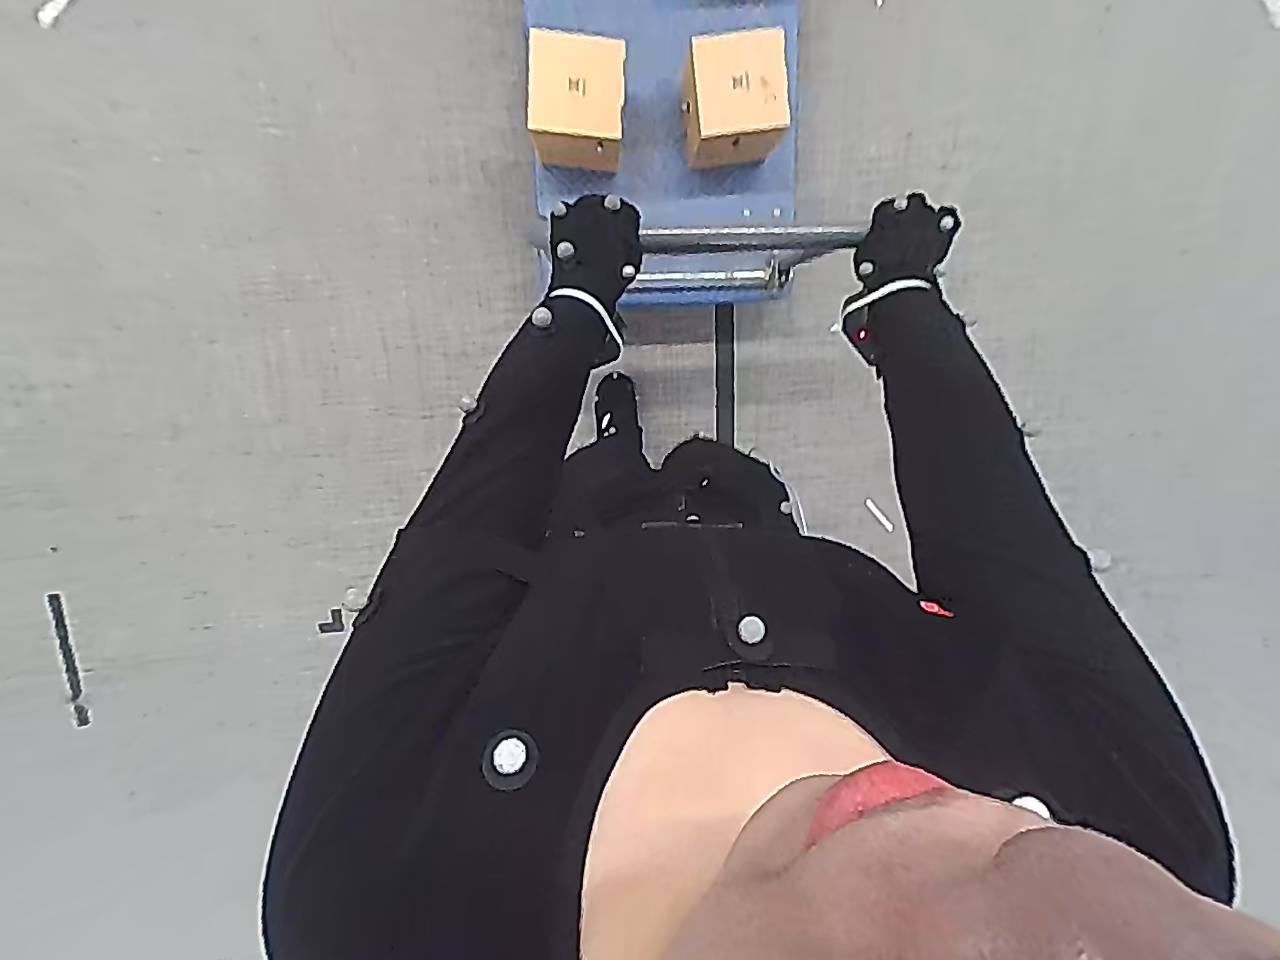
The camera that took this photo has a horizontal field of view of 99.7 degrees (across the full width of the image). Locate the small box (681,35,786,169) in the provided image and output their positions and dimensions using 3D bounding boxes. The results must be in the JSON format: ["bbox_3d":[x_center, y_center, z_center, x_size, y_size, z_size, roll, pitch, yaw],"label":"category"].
[{"bbox_3d":[0.181,-0.752,1.094,0.179,0.176,0.168,-8,102,-2],"label":"small box"}]

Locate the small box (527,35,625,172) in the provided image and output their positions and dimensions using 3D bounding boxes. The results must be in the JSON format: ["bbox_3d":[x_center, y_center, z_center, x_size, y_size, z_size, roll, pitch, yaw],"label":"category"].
[{"bbox_3d":[-0.126,-0.736,1.078,0.179,0.176,0.168,3,100,-6],"label":"small box"}]
